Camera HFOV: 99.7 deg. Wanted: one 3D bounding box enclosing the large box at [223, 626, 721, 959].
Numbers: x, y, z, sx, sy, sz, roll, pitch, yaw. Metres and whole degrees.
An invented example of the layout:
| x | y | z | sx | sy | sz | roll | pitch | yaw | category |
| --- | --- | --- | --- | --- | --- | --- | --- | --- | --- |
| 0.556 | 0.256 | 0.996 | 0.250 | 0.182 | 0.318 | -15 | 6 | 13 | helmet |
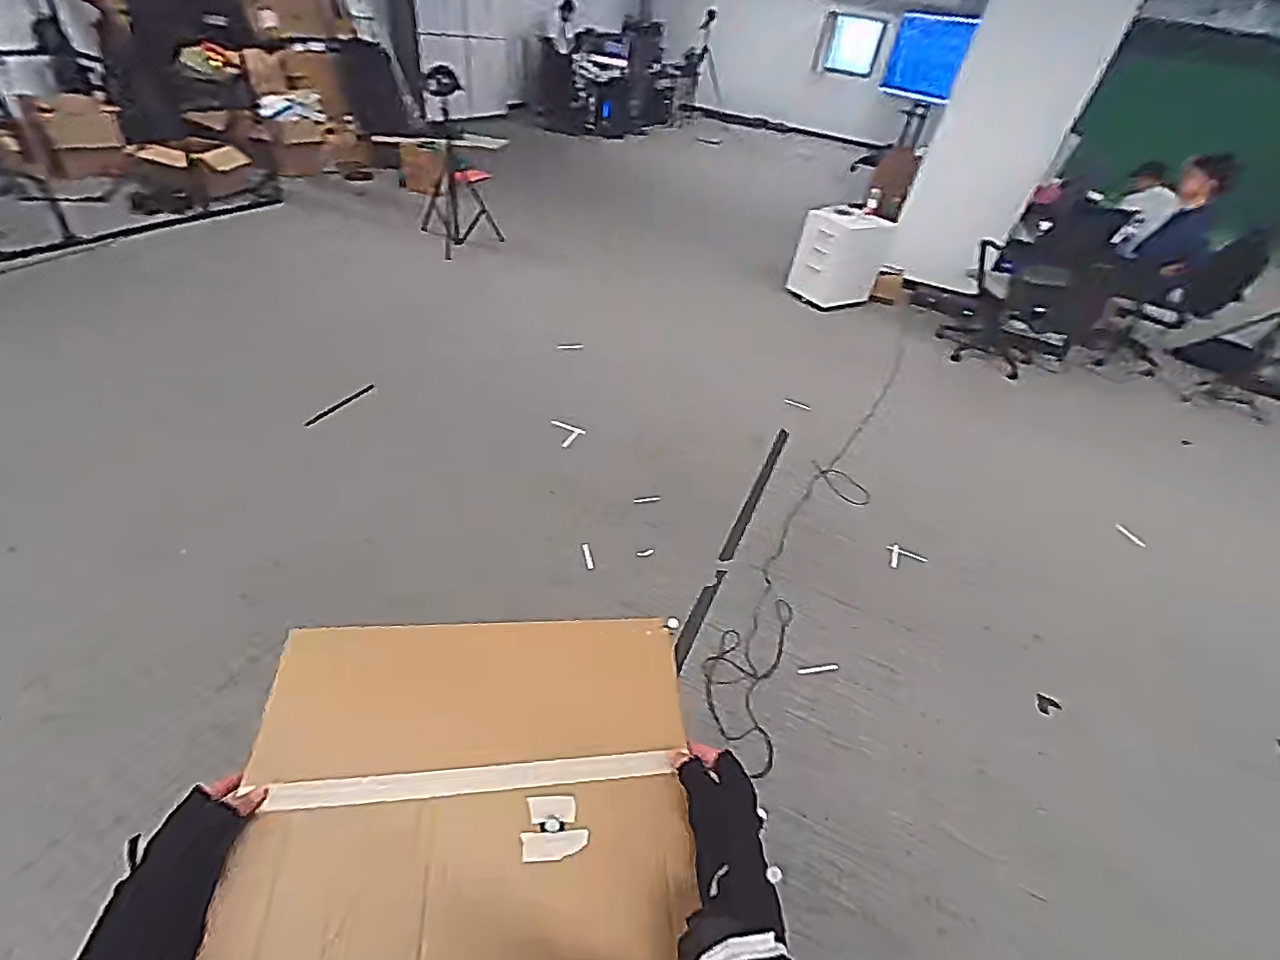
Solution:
| x | y | z | sx | sy | sz | roll | pitch | yaw | category |
| --- | --- | --- | --- | --- | --- | --- | --- | --- | --- |
| -0.163 | 0.383 | 0.633 | 0.408 | 0.320 | 0.320 | 3 | 50 | -11 | large box |
